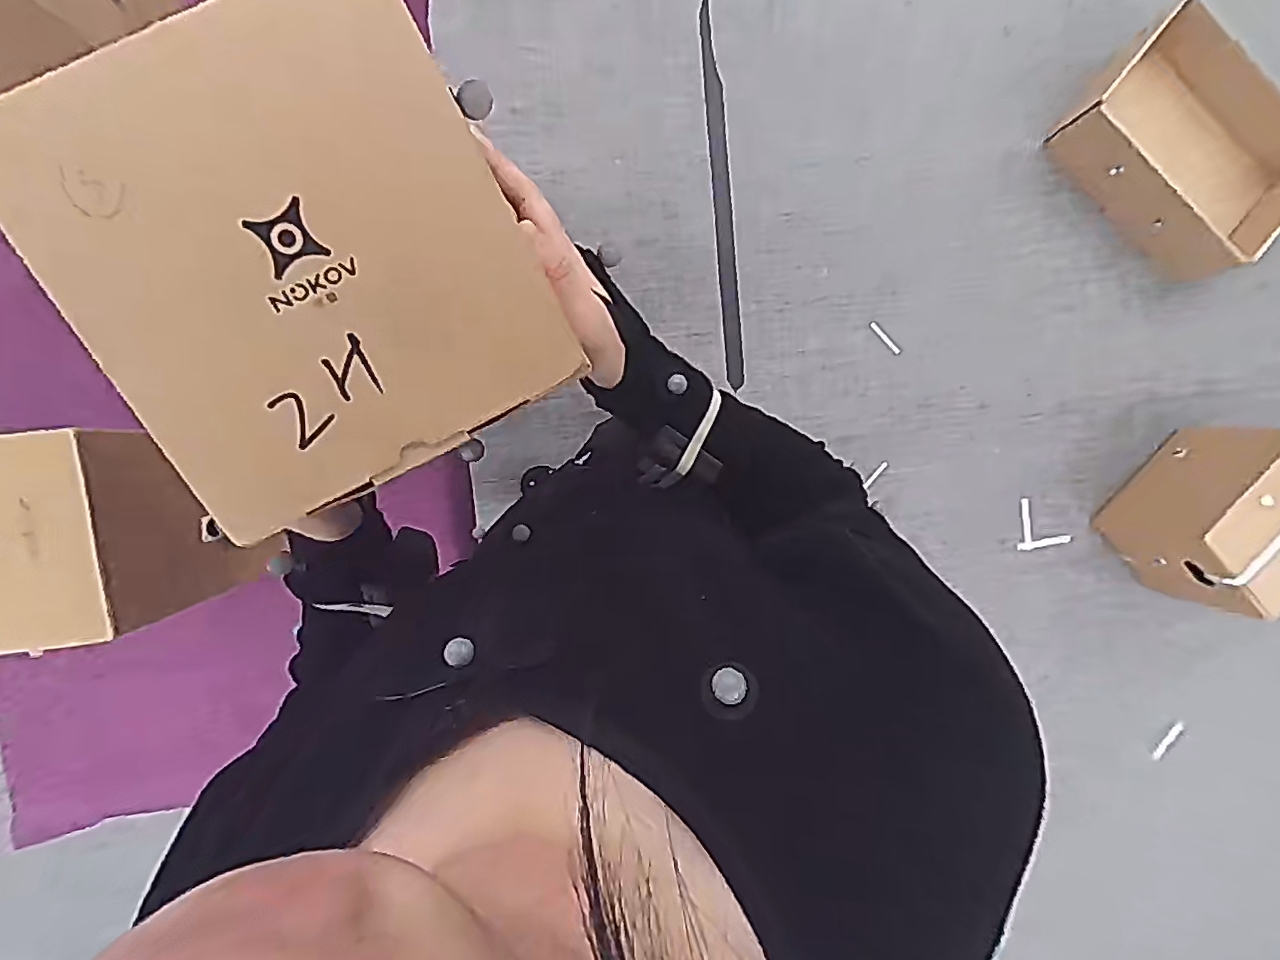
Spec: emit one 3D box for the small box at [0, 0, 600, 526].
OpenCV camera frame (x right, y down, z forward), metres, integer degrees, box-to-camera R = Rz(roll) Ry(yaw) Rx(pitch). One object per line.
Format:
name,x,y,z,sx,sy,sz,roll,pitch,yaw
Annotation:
small box,-0.136,-0.103,0.282,0.168,0.176,0.179,-28,103,-3

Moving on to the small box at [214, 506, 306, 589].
small box,-0.525,0.035,0.638,0.179,0.176,0.168,-7,94,-4

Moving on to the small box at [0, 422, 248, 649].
small box,-0.498,0.042,0.477,0.179,0.176,0.168,-7,95,-6
